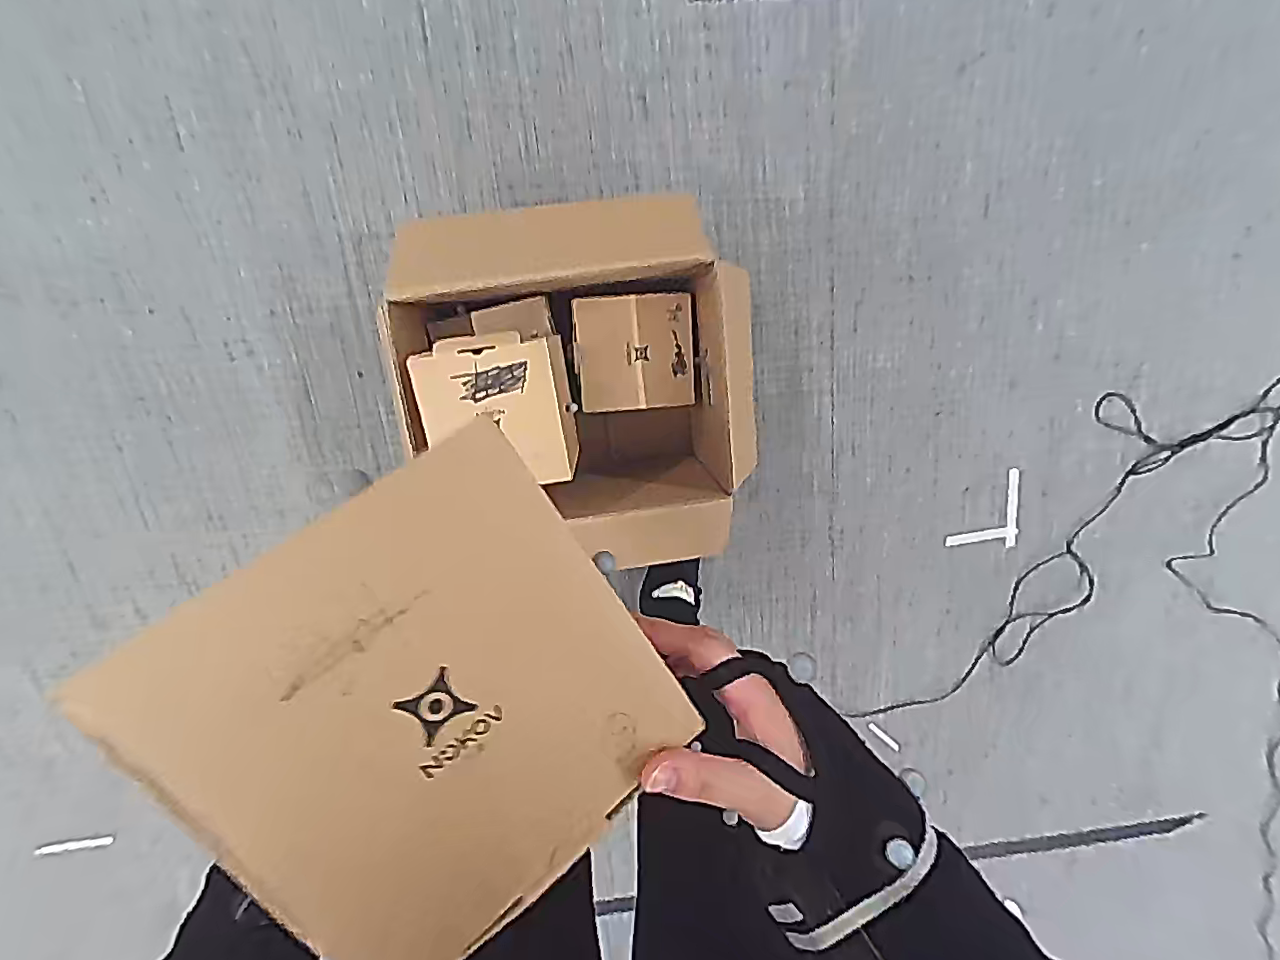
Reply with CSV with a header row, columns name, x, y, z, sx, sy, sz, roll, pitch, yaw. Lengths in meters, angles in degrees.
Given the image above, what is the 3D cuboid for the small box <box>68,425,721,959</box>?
name,x,y,z,sx,sy,sz,roll,pitch,yaw
small box,-0.096,0.090,0.280,0.168,0.176,0.179,-37,103,-16

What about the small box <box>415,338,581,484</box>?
name,x,y,z,sx,sy,sz,roll,pitch,yaw
small box,-0.174,-0.092,0.722,0.168,0.176,0.179,-8,107,-1
